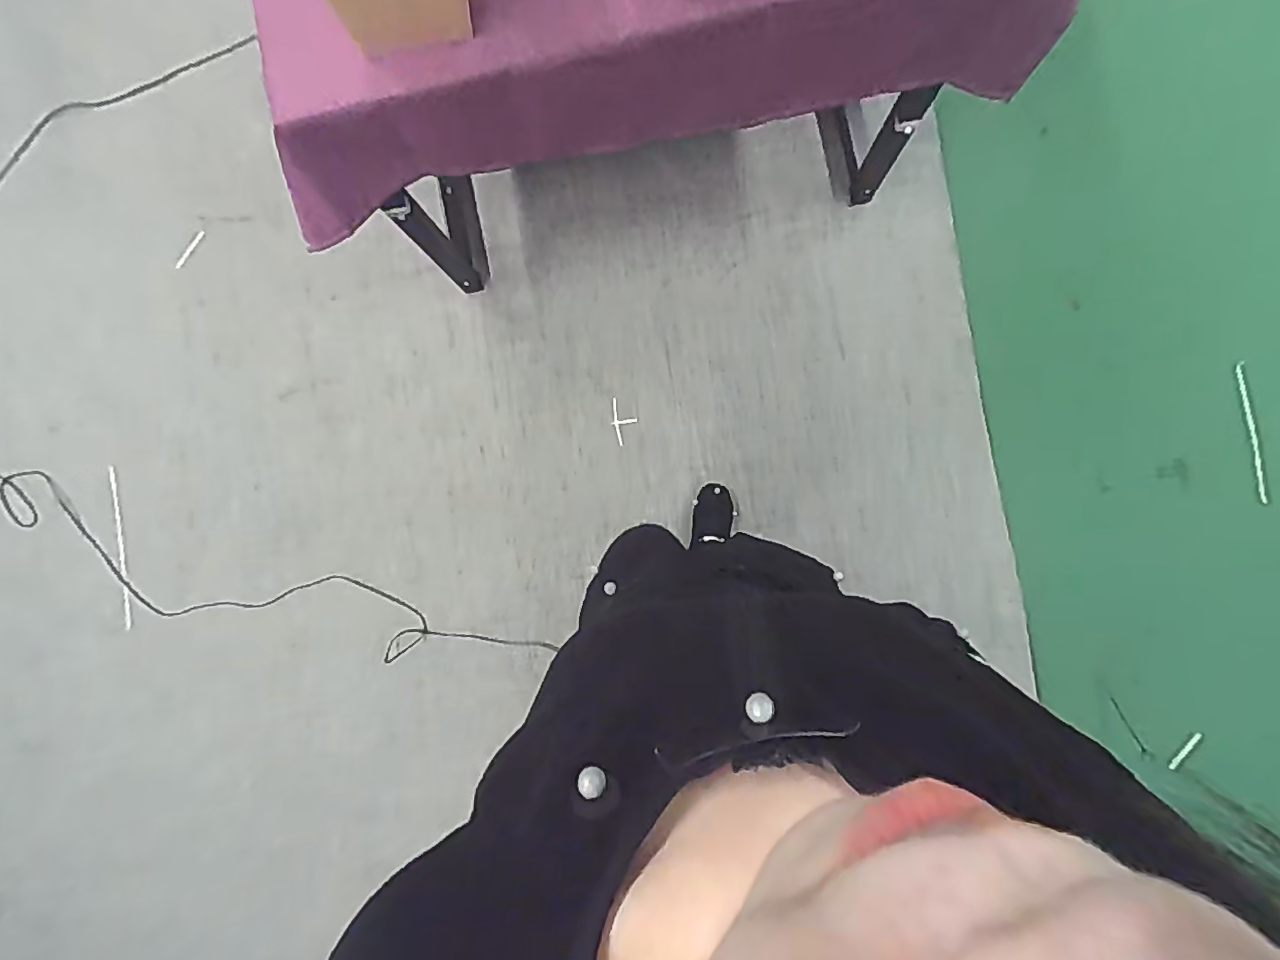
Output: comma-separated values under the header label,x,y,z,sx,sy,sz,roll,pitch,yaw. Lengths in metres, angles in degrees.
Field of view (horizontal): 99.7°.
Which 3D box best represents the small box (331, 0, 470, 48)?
label,x,y,z,sx,sy,sz,roll,pitch,yaw
small box,-0.358,-0.750,0.751,0.179,0.176,0.168,-8,87,3
